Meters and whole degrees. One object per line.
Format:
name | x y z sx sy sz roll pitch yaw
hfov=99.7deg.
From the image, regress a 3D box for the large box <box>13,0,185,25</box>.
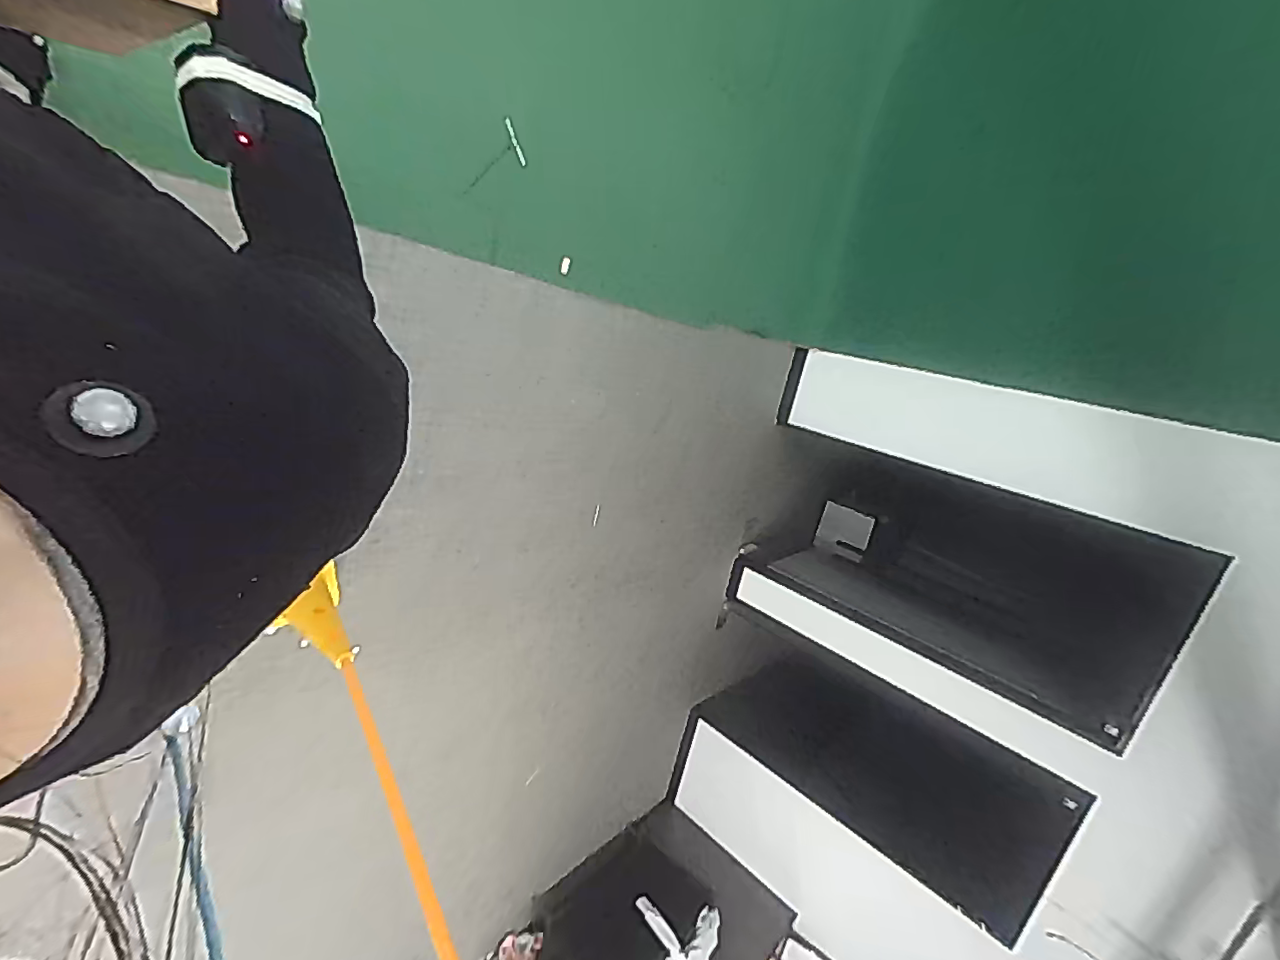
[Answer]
large box | -0.527 -0.498 0.271 0.408 0.320 0.320 -19 125 -47
